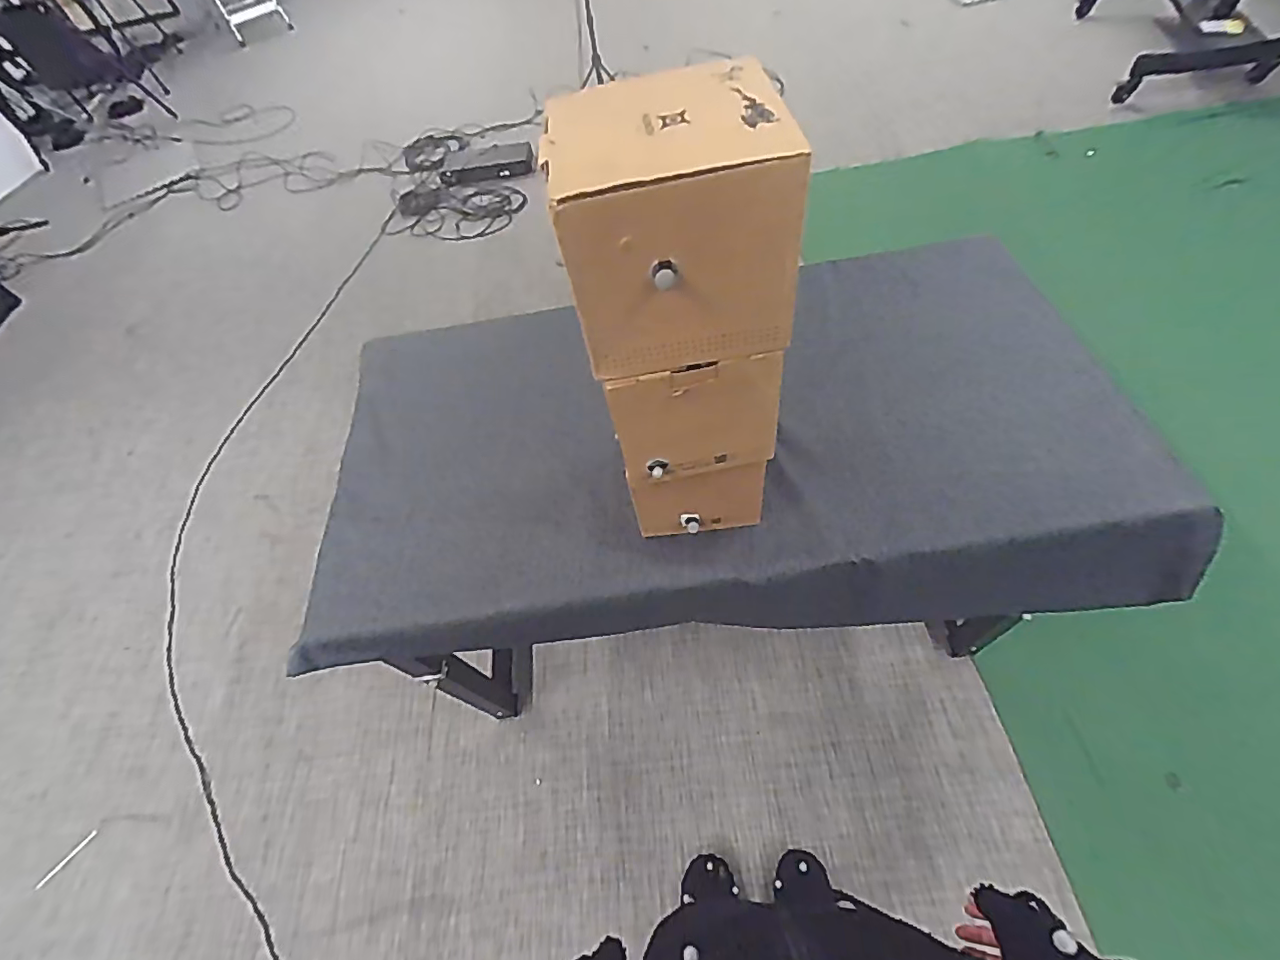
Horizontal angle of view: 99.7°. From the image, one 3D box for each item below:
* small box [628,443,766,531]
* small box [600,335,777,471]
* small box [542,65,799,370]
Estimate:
[{"bbox_3d":[0.072,-0.051,0.747,0.168,0.176,0.179,-9,57,5],"label":"small box"},{"bbox_3d":[0.045,-0.128,0.604,0.168,0.176,0.179,-15,57,1],"label":"small box"},{"bbox_3d":[0.025,-0.218,0.472,0.179,0.176,0.168,-12,54,2],"label":"small box"}]
